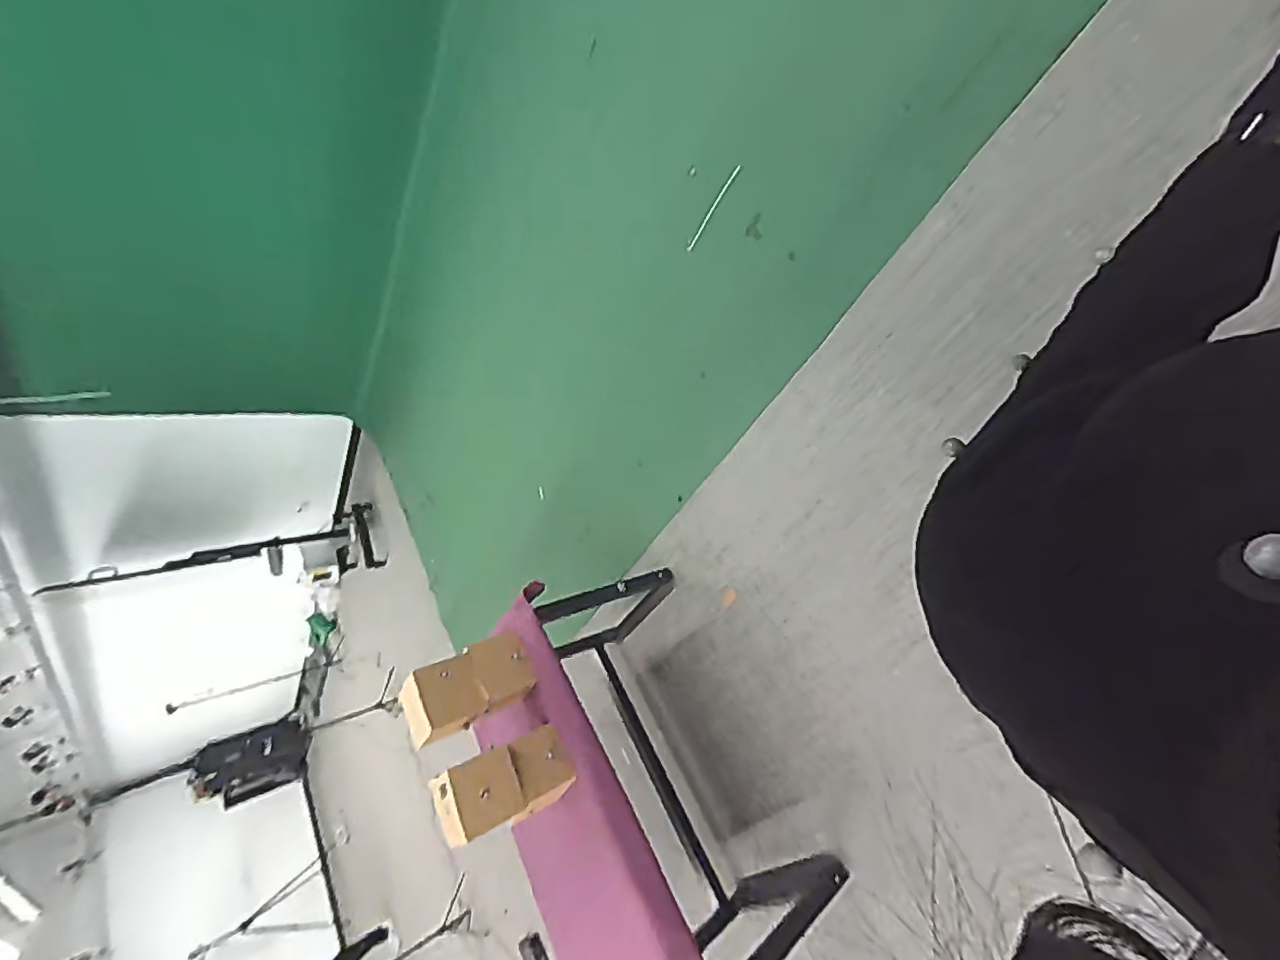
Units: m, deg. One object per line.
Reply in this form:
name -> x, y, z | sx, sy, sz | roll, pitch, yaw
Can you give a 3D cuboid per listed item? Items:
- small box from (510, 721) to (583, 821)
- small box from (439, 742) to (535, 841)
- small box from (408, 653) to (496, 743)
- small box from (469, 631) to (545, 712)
small box -> -0.289, 0.830, 1.553 | 0.168, 0.176, 0.179 | 52, 131, 29
small box -> -0.407, 0.820, 1.437 | 0.168, 0.176, 0.179 | -45, 64, 43
small box -> -0.540, 0.617, 1.554 | 0.168, 0.176, 0.179 | -51, 60, 39
small box -> -0.422, 0.587, 1.664 | 0.179, 0.176, 0.168 | 54, 131, 27
